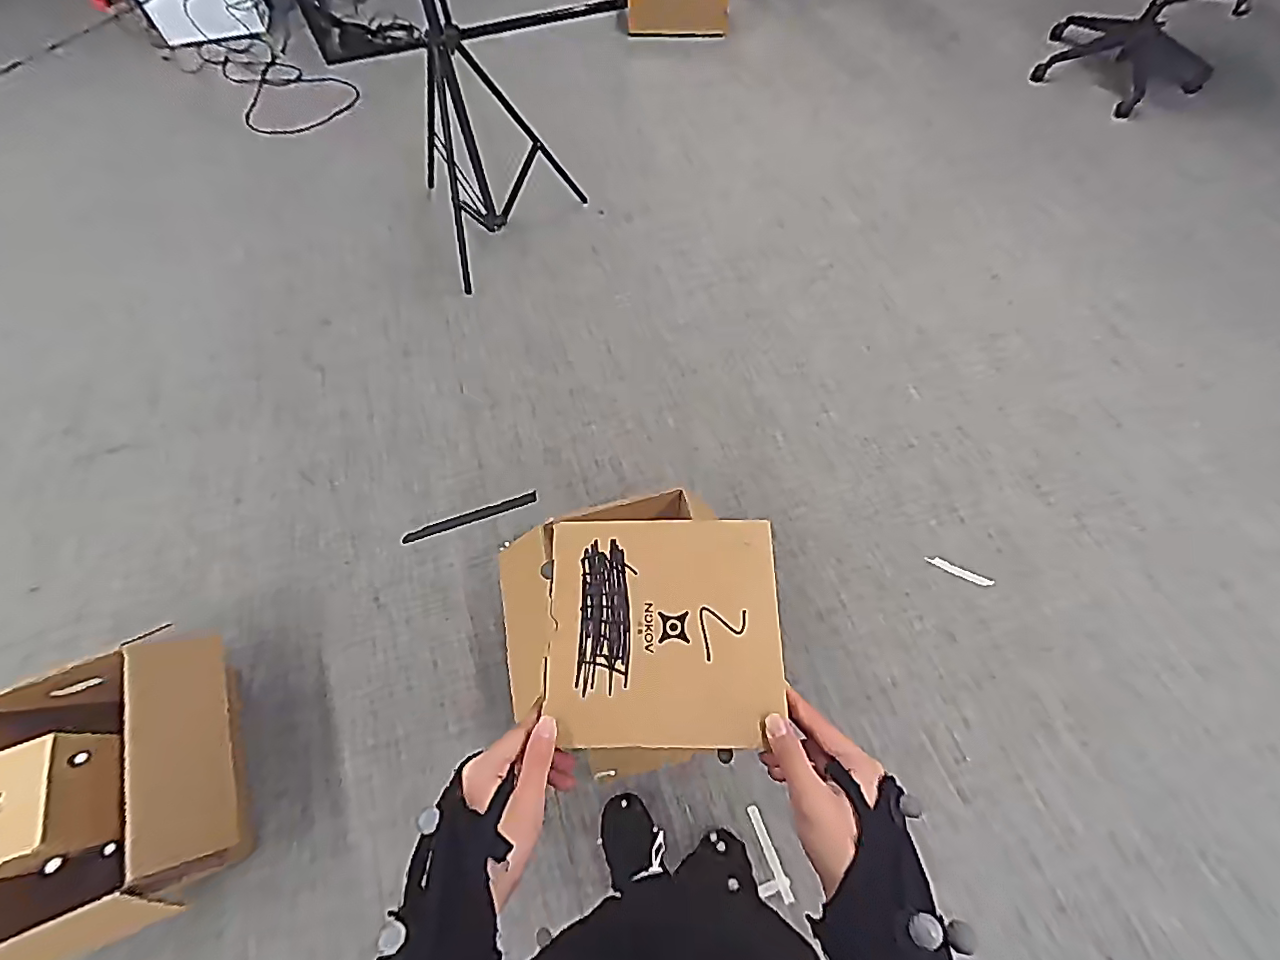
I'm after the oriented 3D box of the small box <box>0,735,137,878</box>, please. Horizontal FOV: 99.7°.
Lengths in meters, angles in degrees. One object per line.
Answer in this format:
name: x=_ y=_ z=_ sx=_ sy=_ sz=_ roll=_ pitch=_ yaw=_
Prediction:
small box: x=-1.020 y=0.561 z=0.928 sx=0.168 sy=0.176 sz=0.179 roll=-19 pitch=64 yaw=-7
